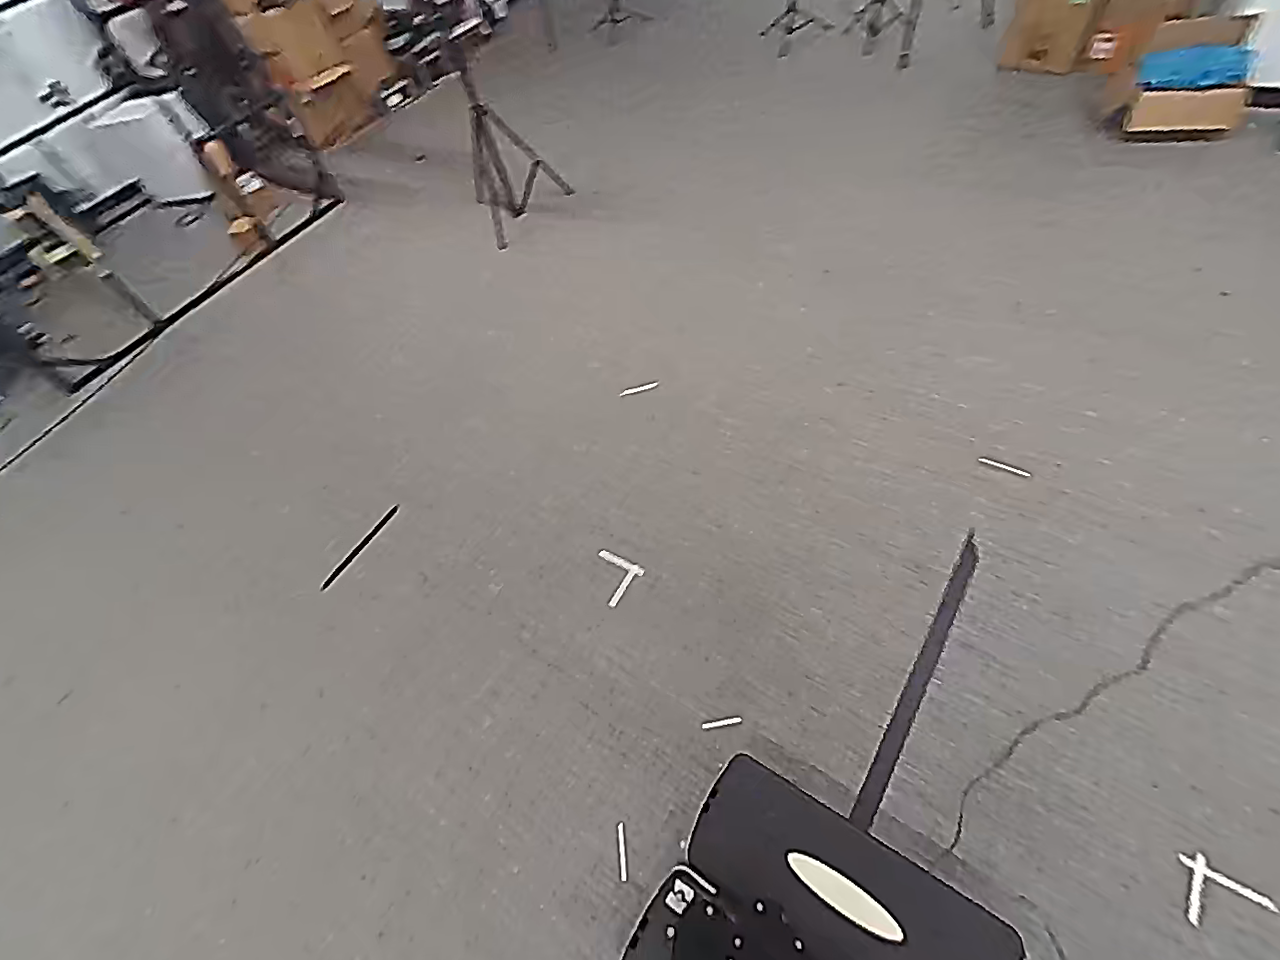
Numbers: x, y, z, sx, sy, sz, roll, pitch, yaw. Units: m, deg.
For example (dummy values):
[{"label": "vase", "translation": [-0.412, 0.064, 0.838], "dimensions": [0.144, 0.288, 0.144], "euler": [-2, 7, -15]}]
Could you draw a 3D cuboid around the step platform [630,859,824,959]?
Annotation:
[{"label": "step platform", "translation": [0.304, 1.084, 1.050], "dimensions": [0.684, 0.204, 0.286], "euler": [22, 62, 27]}]
